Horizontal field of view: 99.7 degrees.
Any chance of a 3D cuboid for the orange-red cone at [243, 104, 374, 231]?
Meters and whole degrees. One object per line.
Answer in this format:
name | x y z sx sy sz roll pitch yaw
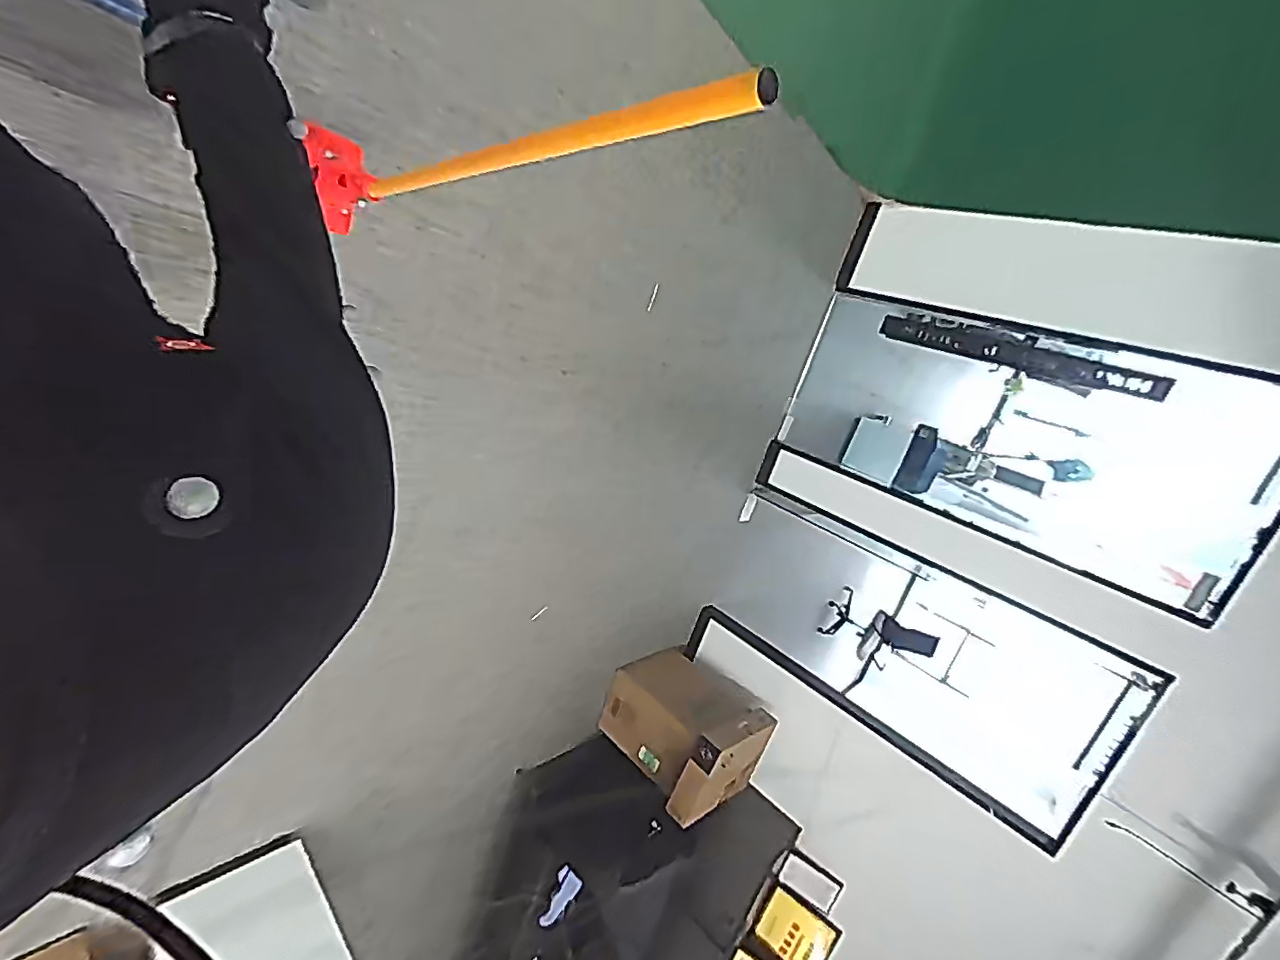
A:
orange-red cone | -0.622 -0.605 1.077 0.199 0.360 0.198 3 111 -50
